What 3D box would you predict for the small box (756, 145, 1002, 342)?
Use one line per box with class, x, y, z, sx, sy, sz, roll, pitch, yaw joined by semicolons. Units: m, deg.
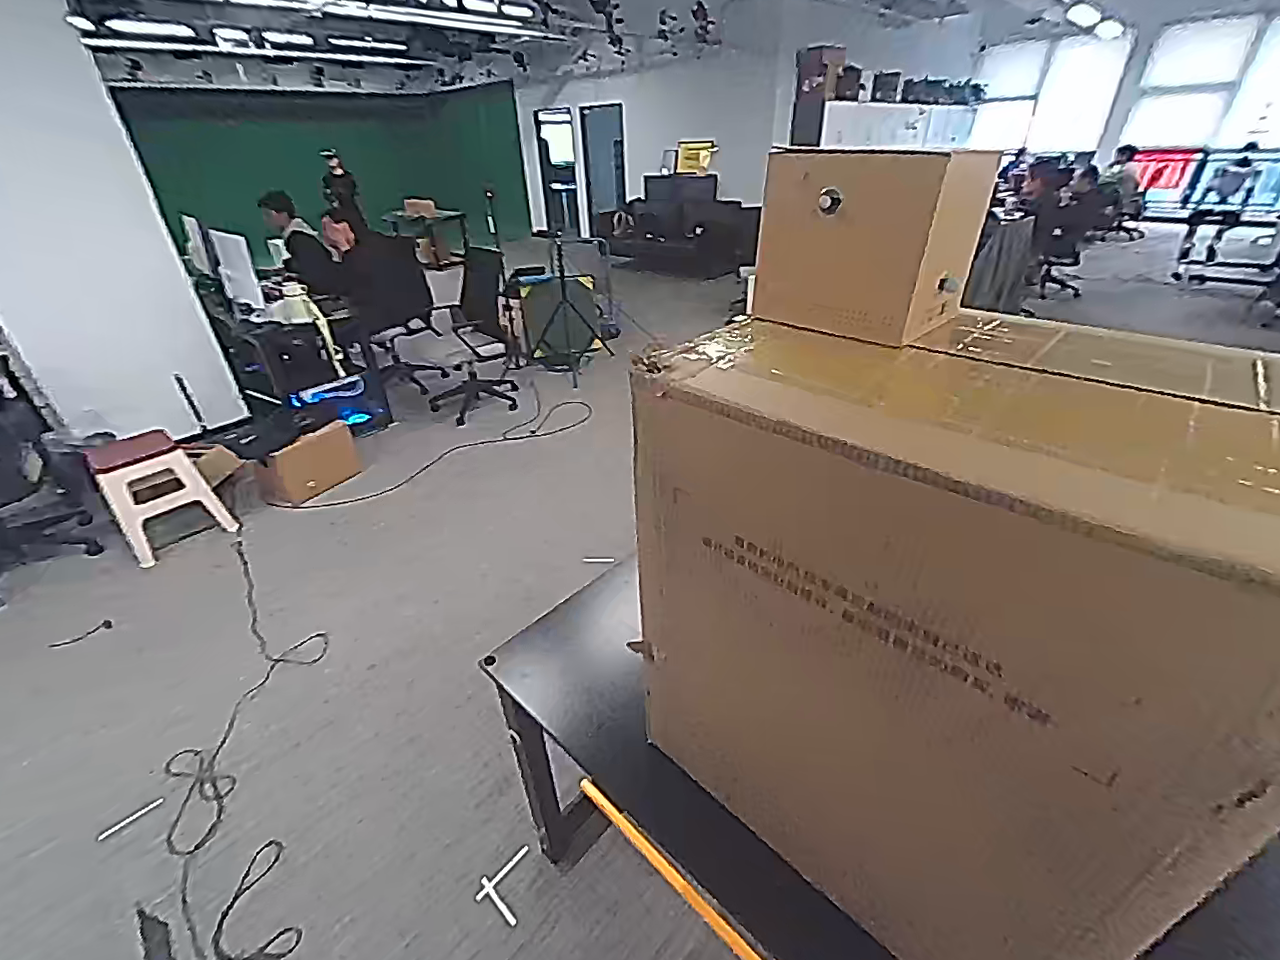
small box;0.243;-0.257;0.580;0.179;0.176;0.168;27;41;36
